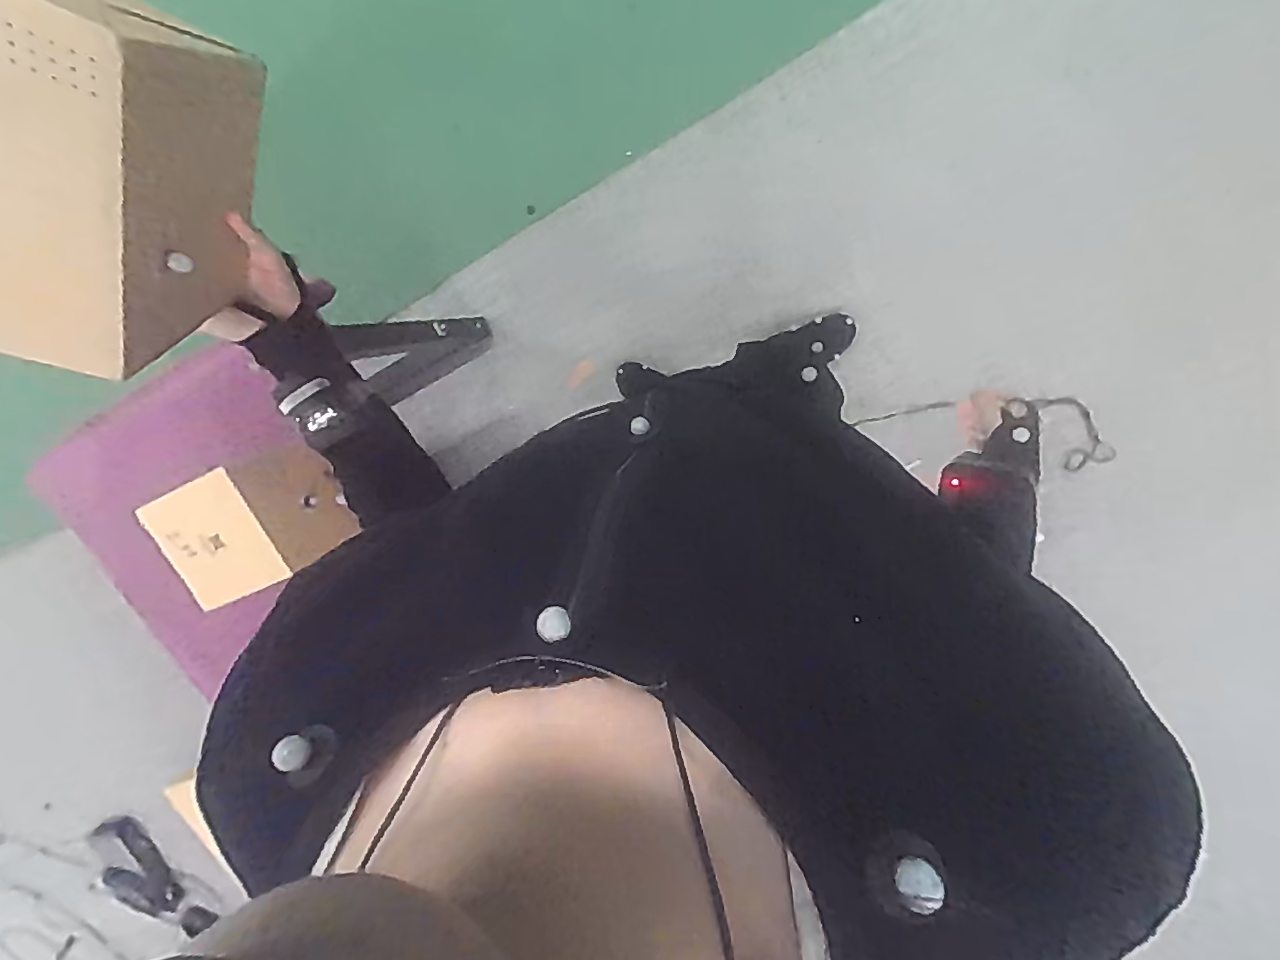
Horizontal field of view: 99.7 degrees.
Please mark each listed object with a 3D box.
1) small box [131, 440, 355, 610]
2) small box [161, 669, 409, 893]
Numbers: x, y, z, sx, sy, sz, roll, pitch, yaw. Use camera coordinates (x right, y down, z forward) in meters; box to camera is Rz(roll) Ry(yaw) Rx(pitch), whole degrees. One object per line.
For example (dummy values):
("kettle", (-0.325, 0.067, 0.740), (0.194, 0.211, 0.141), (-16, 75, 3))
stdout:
("small box", (-0.556, 0.057, 0.790), (0.179, 0.176, 0.168), (-21, 103, 16))
("small box", (-0.442, 0.383, 0.704), (0.168, 0.176, 0.179), (-22, 102, 16))
